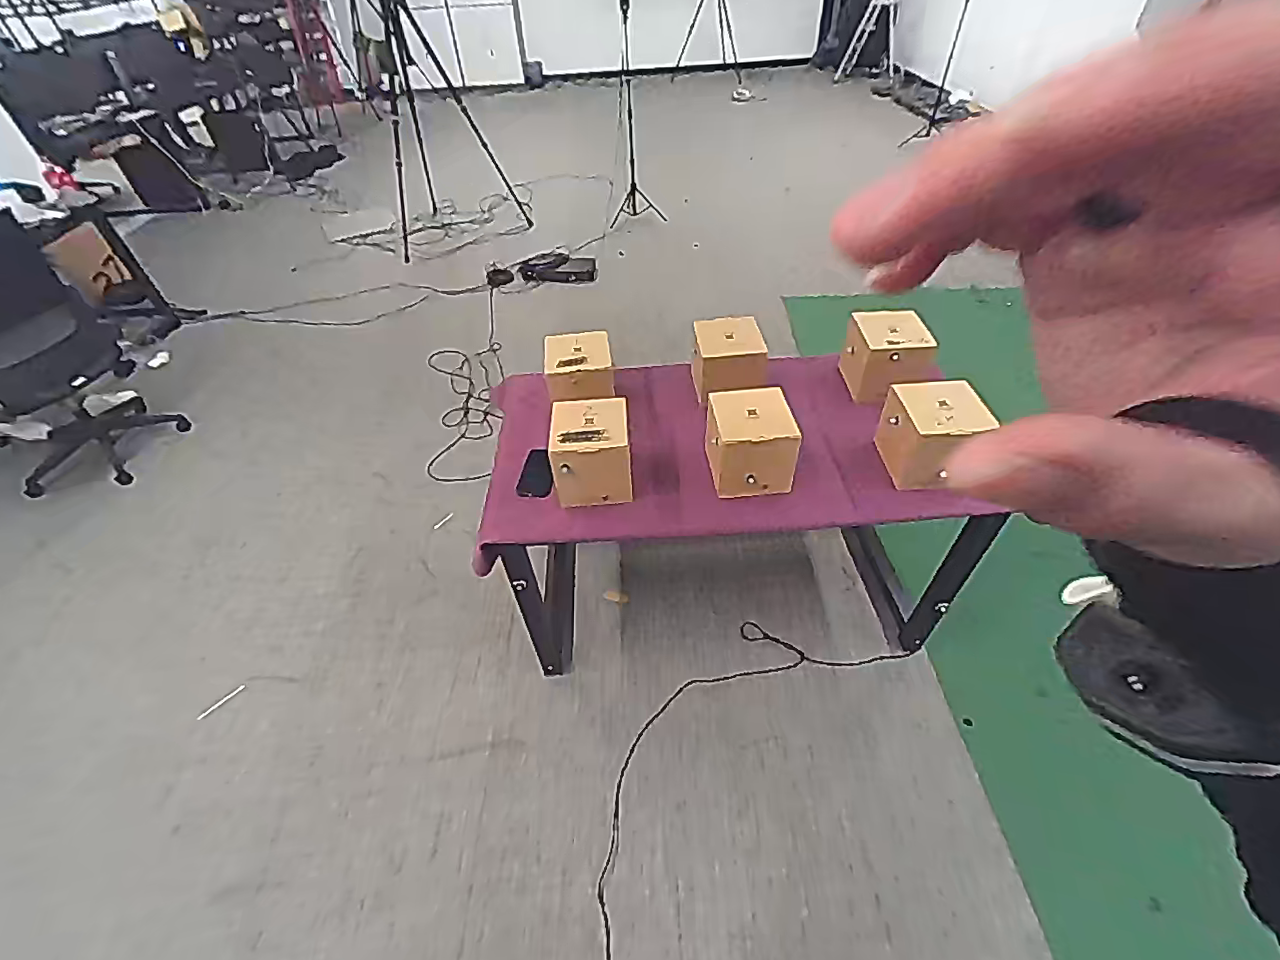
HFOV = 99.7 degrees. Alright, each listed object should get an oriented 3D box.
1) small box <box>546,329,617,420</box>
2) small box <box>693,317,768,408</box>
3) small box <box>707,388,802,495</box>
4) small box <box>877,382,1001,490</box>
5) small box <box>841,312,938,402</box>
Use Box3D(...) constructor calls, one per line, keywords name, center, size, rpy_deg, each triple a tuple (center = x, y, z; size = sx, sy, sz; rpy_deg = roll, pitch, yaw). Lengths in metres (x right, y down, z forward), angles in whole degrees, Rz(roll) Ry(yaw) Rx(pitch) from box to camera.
Box3D(name="small box", center=(-0.151, -0.271, 1.418), size=(0.168, 0.176, 0.179), rpy_deg=(-6, 45, -3))
Box3D(name="small box", center=(0.234, -0.313, 1.441), size=(0.168, 0.176, 0.179), rpy_deg=(-4, 46, 0))
Box3D(name="small box", center=(0.247, -0.087, 1.218), size=(0.168, 0.176, 0.179), rpy_deg=(-5, 45, -2))
Box3D(name="small box", center=(0.647, -0.098, 1.201), size=(0.168, 0.176, 0.179), rpy_deg=(-3, 45, 3))
Box3D(name="small box", center=(0.645, -0.323, 1.425), size=(0.168, 0.176, 0.179), rpy_deg=(-2, 45, 2))
